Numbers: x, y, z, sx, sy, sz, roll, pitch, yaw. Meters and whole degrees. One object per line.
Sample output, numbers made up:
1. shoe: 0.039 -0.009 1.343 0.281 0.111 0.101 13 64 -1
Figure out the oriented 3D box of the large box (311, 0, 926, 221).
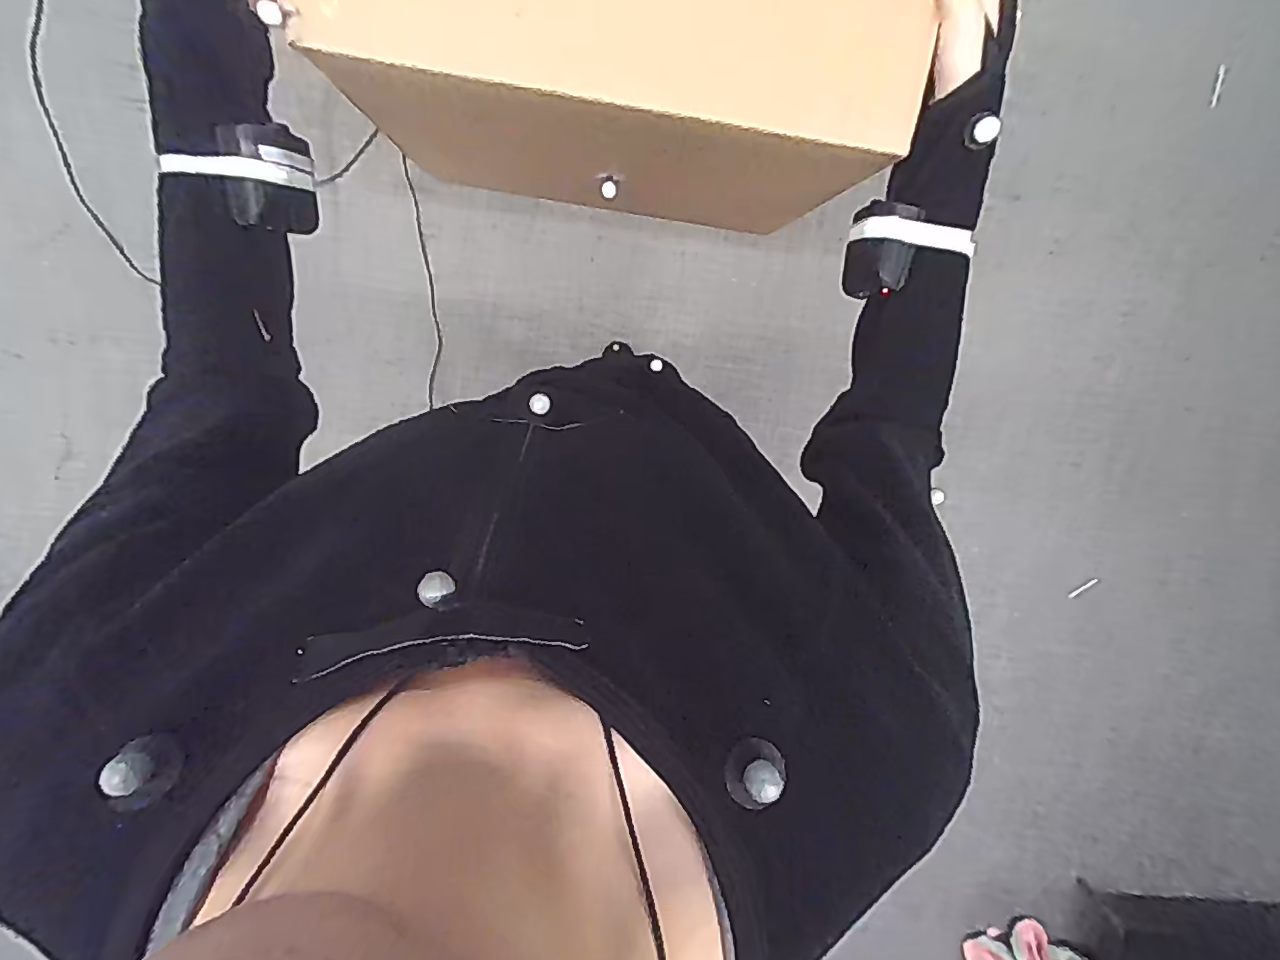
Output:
1. large box: -0.005 -0.438 0.469 0.408 0.320 0.320 6 105 -6
